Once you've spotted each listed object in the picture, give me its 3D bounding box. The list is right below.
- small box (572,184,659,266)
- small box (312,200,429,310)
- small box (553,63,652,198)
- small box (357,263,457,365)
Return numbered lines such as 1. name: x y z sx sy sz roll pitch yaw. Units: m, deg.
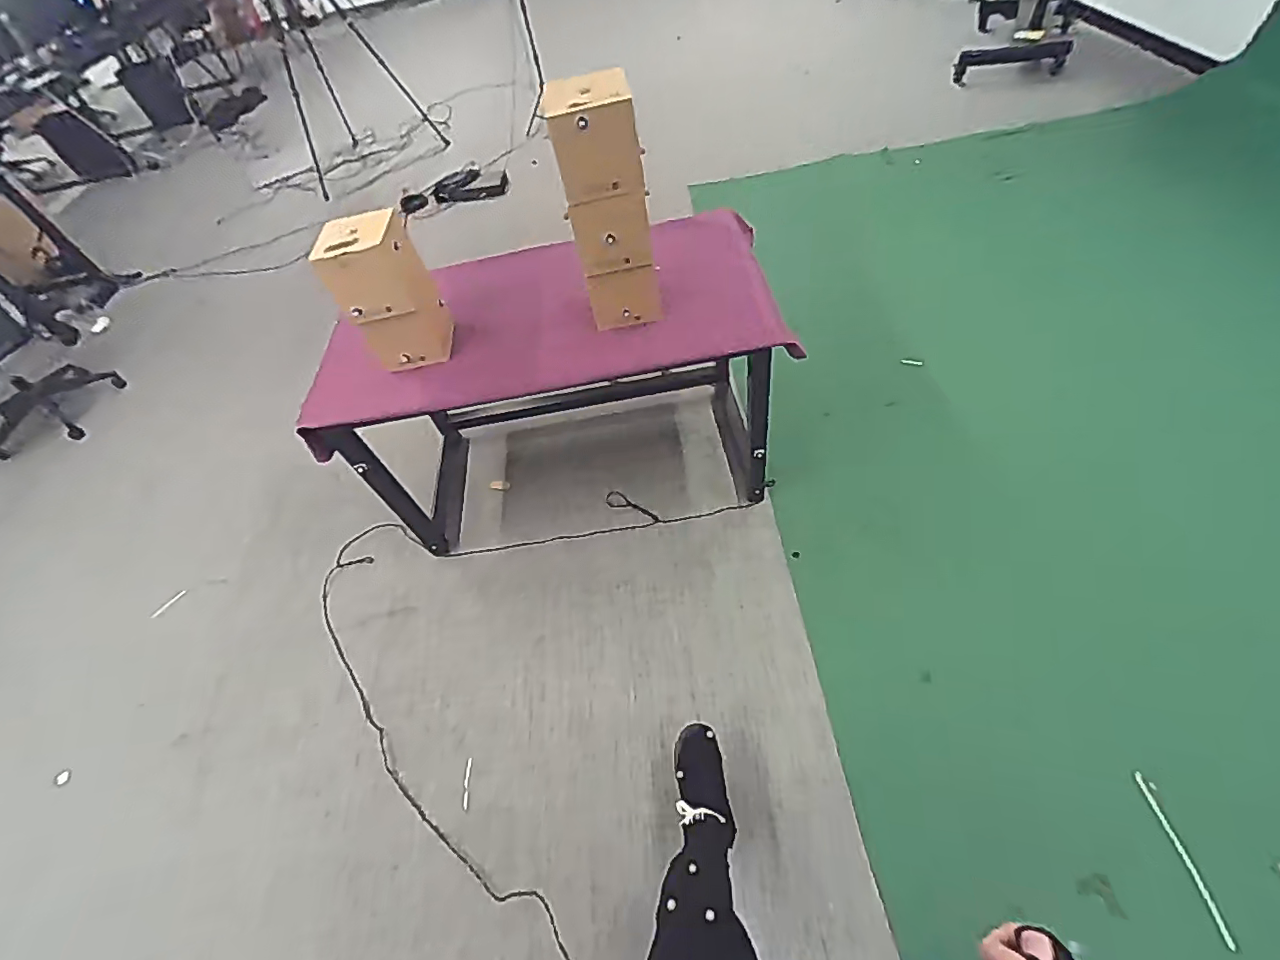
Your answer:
1. small box: -0.053 -0.601 1.217 0.168 0.176 0.179 -8 53 3
2. small box: -0.609 -0.511 1.249 0.168 0.176 0.179 -9 51 3
3. small box: -0.073 -0.698 1.087 0.168 0.176 0.179 -11 52 3
4. small box: -0.585 -0.422 1.384 0.168 0.176 0.179 -9 53 3
